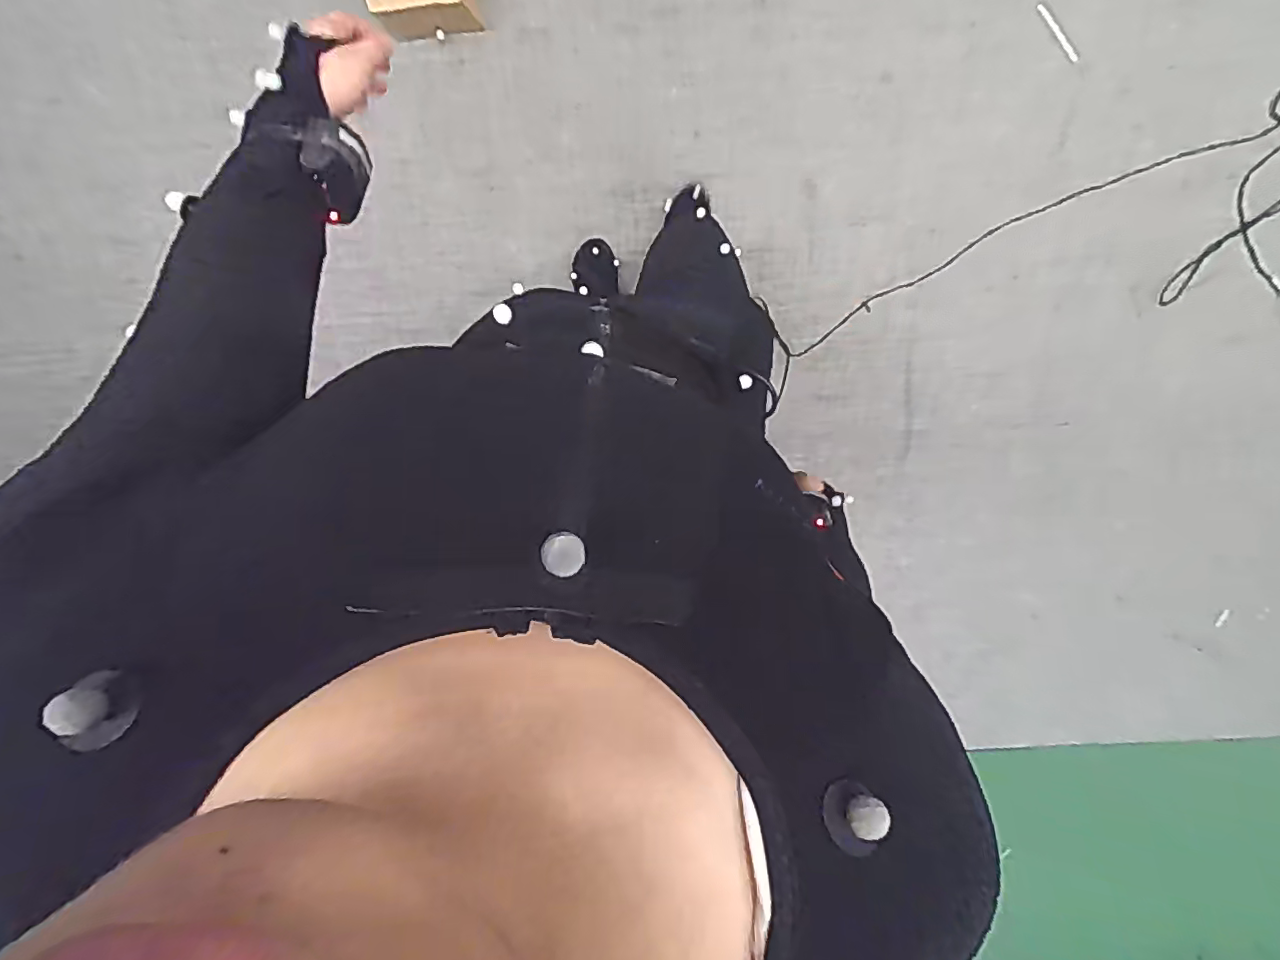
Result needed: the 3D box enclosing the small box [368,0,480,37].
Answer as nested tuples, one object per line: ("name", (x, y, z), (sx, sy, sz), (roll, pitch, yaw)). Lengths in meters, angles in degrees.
("small box", (-0.413, -0.968, 1.021), (0.179, 0.176, 0.168), (-4, 116, 2))
